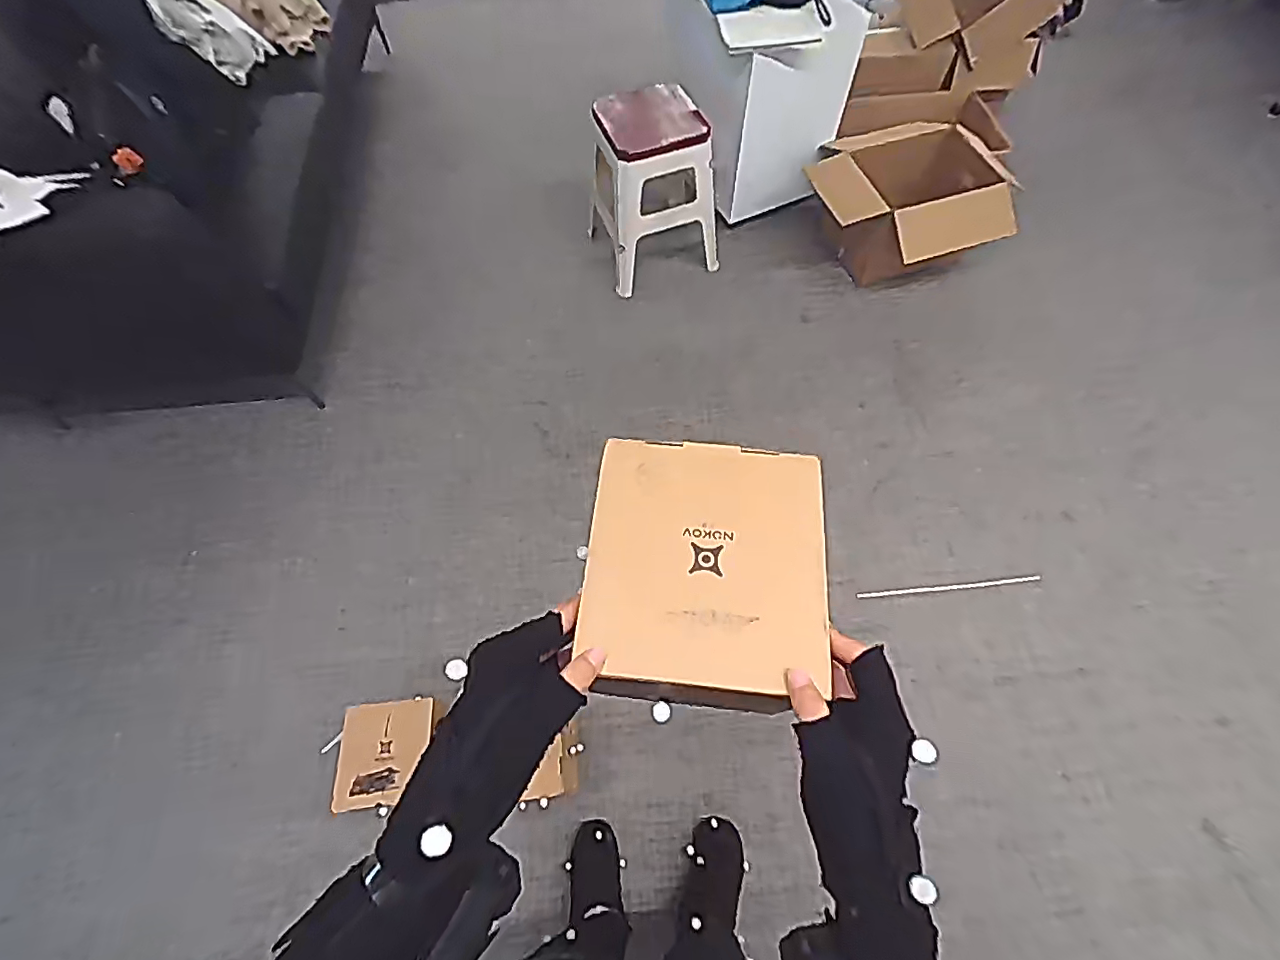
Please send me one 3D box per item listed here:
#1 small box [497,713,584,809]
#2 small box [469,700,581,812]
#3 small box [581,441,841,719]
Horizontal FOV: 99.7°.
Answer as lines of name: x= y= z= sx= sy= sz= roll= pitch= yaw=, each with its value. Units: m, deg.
small box: x=-0.216 y=0.607 z=1.184 sx=0.168 sy=0.176 sz=0.179 roll=-7 pitch=62 yaw=-1
small box: x=-0.217 y=0.529 z=1.041 sx=0.179 sy=0.176 sz=0.168 roll=-7 pitch=63 yaw=-2
small box: x=0.051 y=0.090 z=0.444 sx=0.168 sy=0.176 sz=0.179 roll=5 pitch=64 yaw=3
